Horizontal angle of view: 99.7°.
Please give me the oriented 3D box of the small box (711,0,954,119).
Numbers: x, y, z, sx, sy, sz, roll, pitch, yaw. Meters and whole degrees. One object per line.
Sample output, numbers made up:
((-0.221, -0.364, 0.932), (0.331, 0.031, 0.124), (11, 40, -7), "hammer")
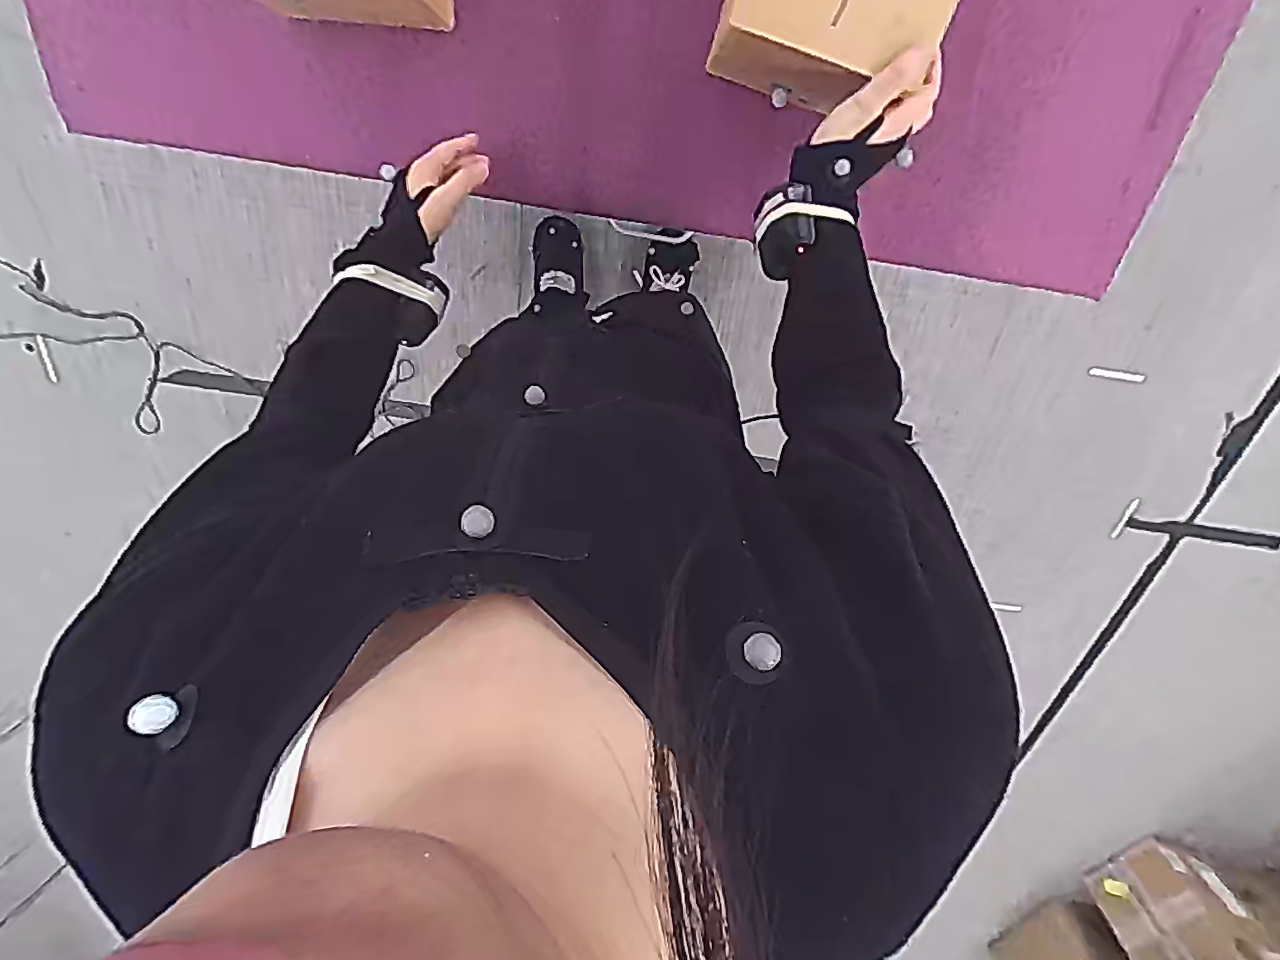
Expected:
((0.168, -0.443, 0.464), (0.168, 0.176, 0.179), (15, 117, -7), "small box")

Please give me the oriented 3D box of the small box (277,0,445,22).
((-0.266, -0.502, 0.438), (0.179, 0.176, 0.168), (5, 117, -2), "small box")
